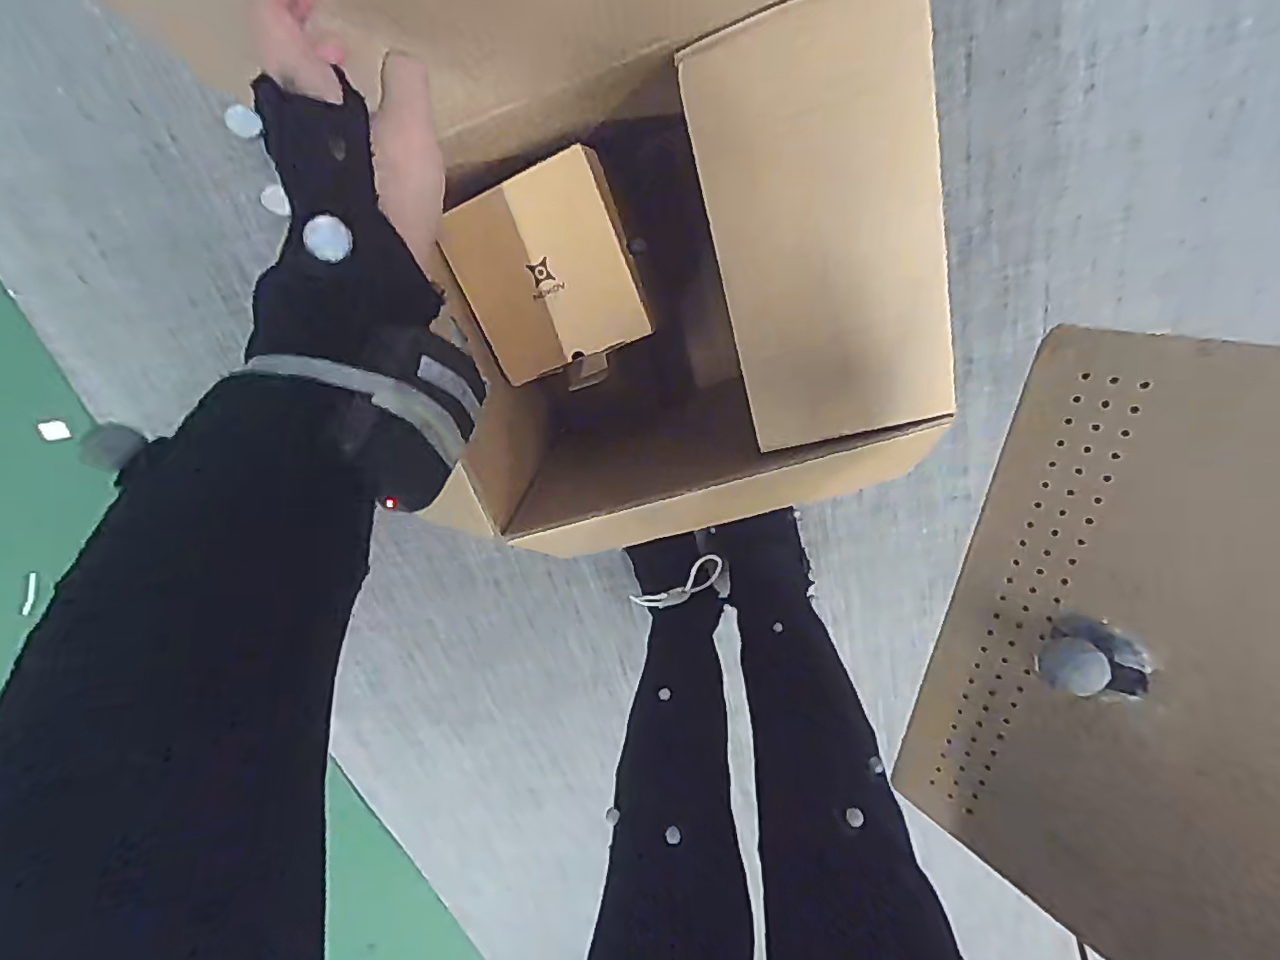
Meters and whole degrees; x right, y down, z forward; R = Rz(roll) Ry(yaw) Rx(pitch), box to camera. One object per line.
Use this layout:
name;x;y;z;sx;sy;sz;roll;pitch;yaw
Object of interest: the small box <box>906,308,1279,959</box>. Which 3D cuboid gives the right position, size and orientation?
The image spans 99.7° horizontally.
small box;0.217;0.050;0.172;0.168;0.176;0.179;-7;114;-35
